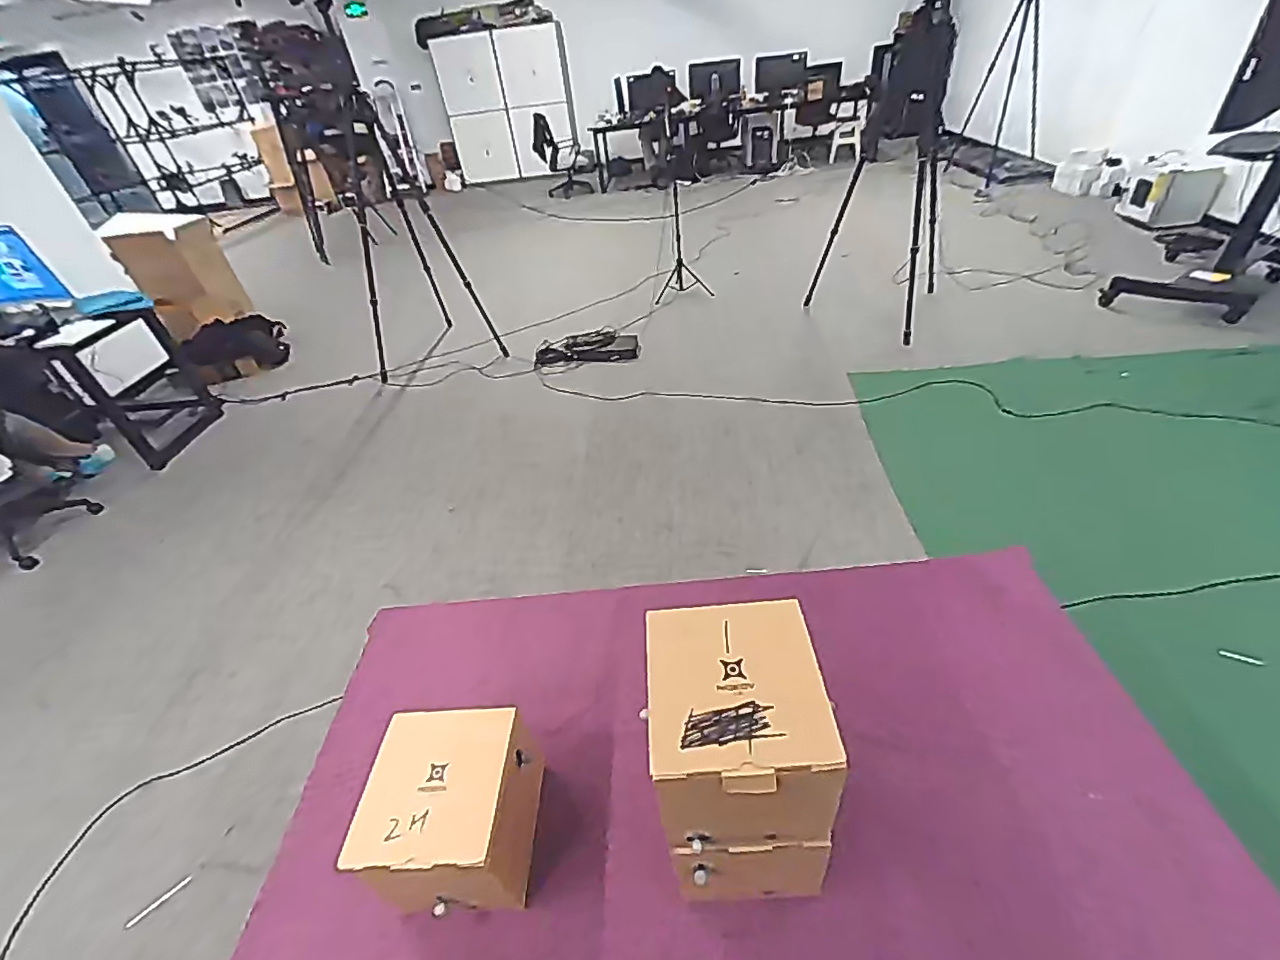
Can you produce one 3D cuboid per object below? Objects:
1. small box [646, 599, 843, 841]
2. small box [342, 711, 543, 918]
[{"bbox_3d":[0.098,0.251,0.563,0.168,0.176,0.179,-6,37,3],"label":"small box"},{"bbox_3d":[-0.227,0.419,0.680,0.168,0.176,0.179,-6,38,5],"label":"small box"}]
